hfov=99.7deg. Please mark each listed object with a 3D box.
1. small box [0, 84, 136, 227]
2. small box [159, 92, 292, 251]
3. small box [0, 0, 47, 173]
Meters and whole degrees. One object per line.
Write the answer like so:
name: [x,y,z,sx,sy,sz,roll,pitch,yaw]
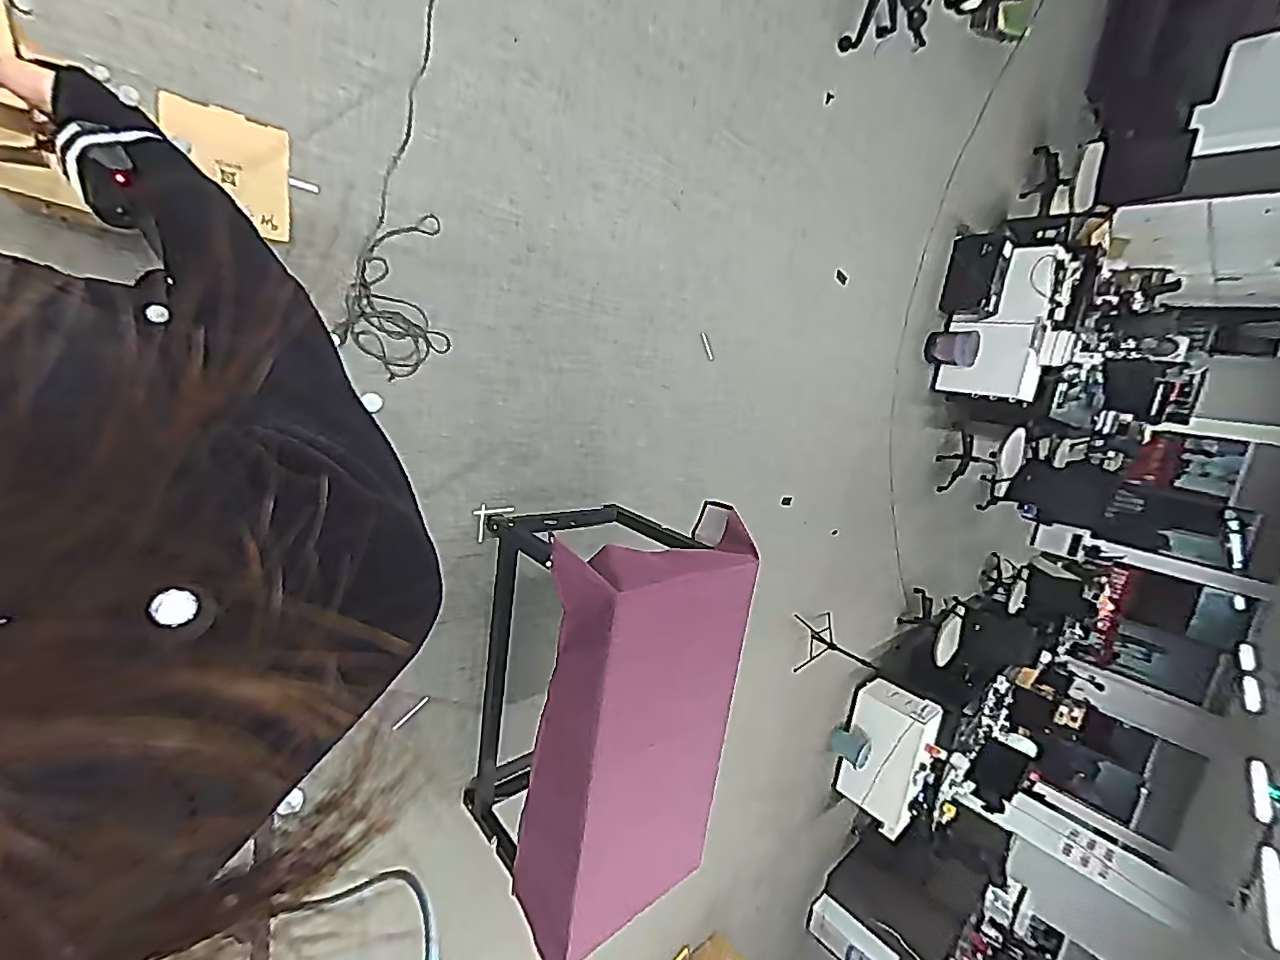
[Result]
small box: [-0.959,-0.534,0.893,0.179,0.176,0.168,5,101,-42]
small box: [-0.698,-0.501,0.911,0.168,0.176,0.179,-2,105,-41]
small box: [-0.665,-0.390,0.476,0.168,0.176,0.179,-11,116,-41]
